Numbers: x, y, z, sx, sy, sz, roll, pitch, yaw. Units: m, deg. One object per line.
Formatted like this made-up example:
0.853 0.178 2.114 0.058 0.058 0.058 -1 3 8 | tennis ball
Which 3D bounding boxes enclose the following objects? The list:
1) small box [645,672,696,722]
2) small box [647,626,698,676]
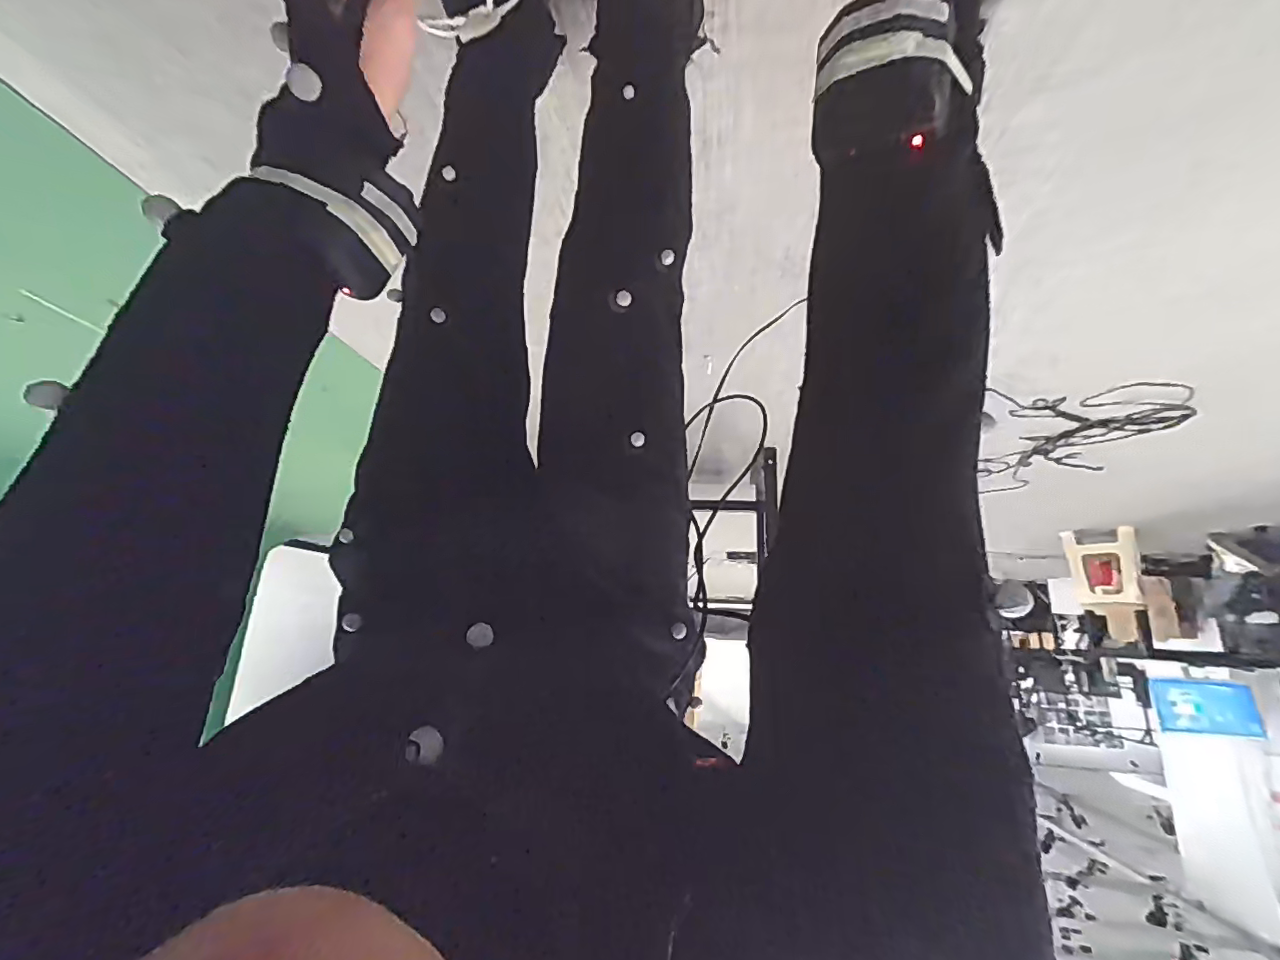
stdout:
0.122 0.828 2.088 0.179 0.176 0.168 0 163 14 | small box
0.131 0.667 2.115 0.168 0.176 0.179 -2 164 17 | small box
